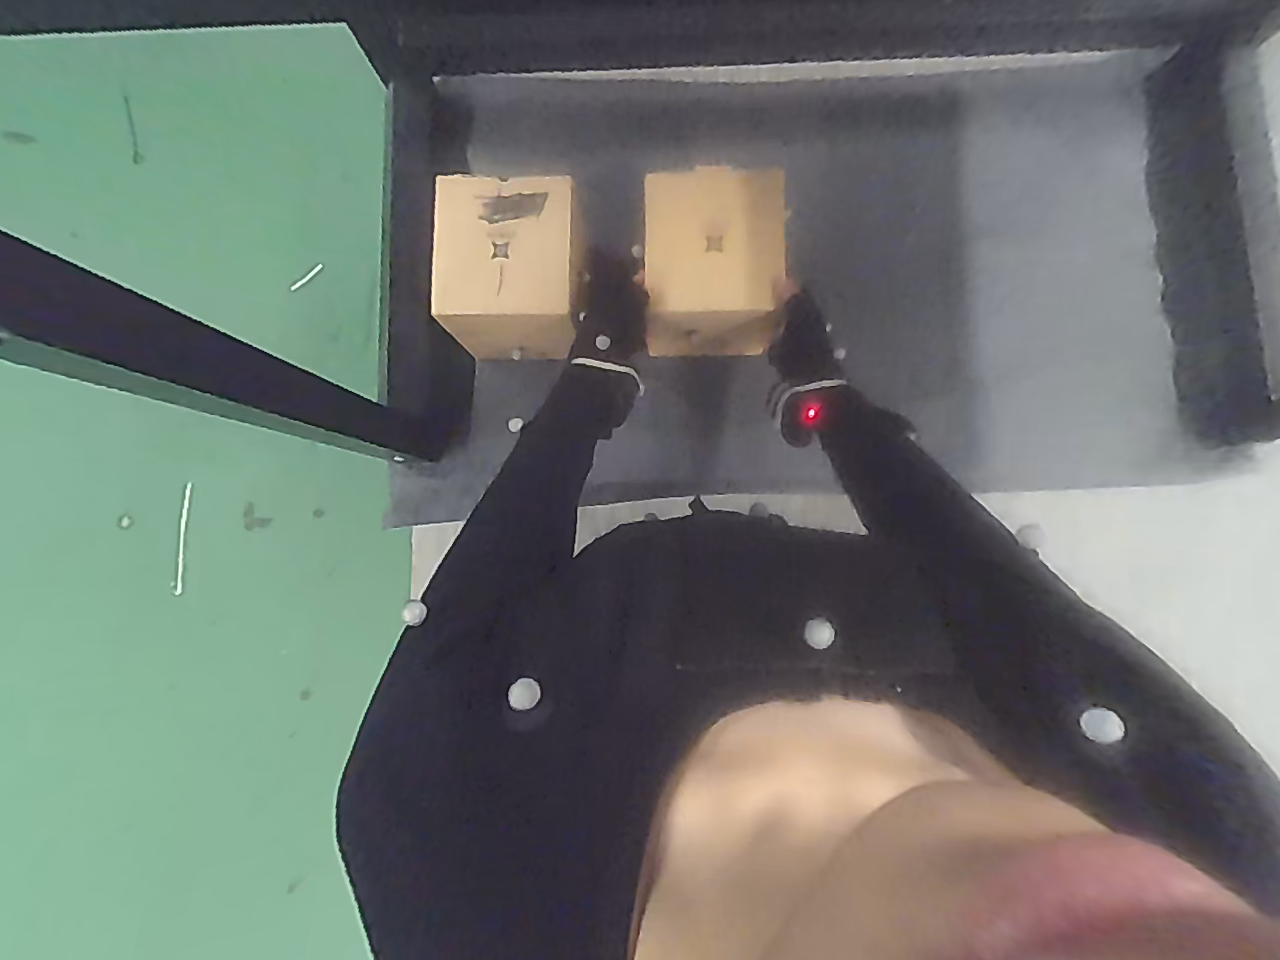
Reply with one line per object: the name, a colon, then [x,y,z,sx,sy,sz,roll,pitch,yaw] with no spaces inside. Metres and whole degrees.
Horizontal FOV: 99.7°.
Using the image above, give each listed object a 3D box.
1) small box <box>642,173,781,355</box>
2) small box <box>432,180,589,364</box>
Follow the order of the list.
small box: [0.090,-0.272,0.720,0.168,0.176,0.179,0,84,3]
small box: [-0.162,-0.268,0.725,0.168,0.176,0.179,0,85,2]
